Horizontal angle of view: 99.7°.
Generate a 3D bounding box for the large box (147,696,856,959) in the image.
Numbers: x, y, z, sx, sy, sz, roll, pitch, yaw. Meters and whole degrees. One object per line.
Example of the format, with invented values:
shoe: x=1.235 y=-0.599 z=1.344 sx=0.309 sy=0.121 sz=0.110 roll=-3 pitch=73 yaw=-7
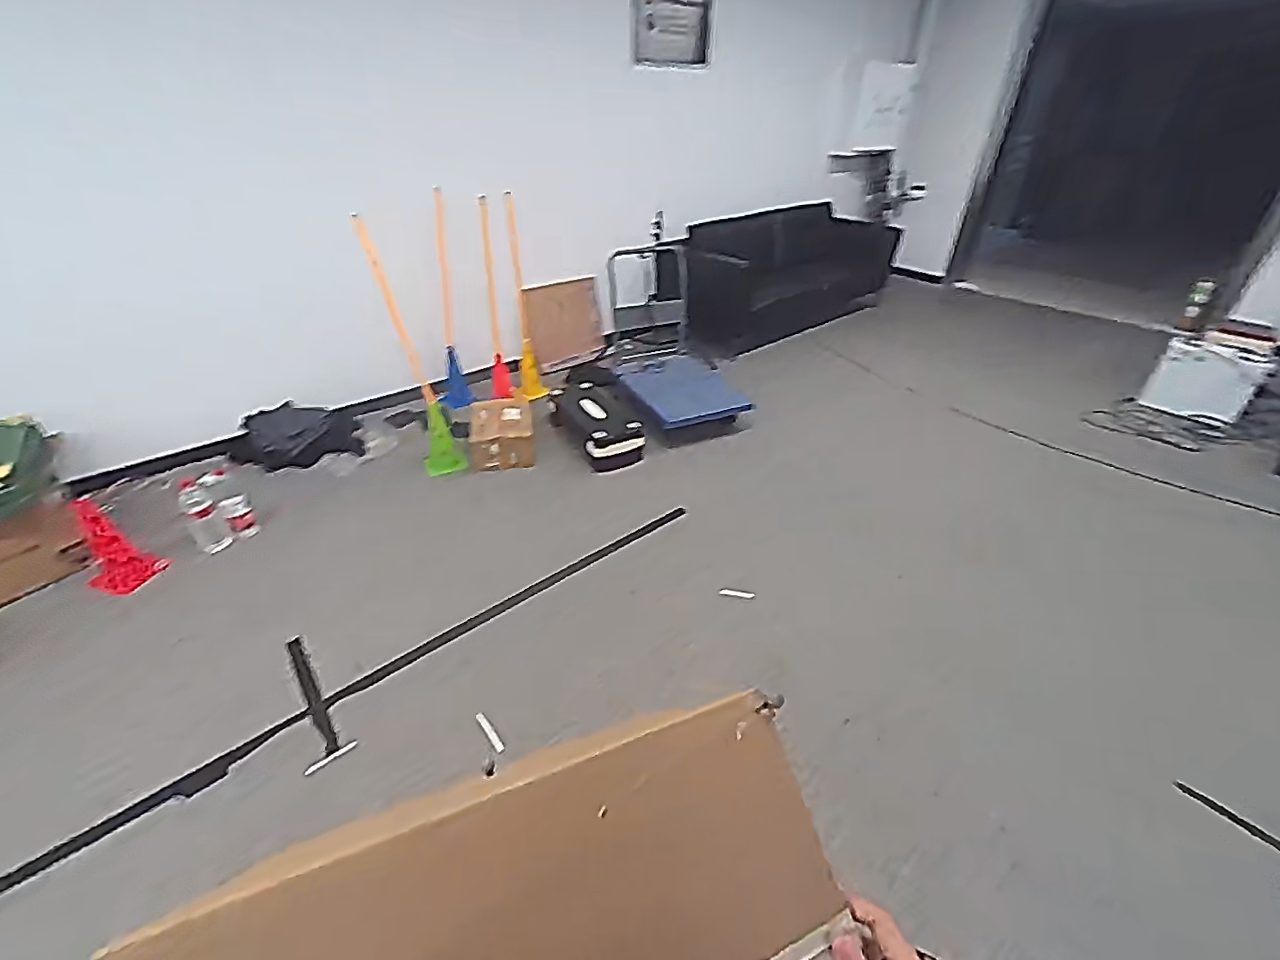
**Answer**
large box: x=-0.079 y=0.409 z=0.431 sx=0.408 sy=0.320 sz=0.320 roll=-13 pitch=70 yaw=-21
